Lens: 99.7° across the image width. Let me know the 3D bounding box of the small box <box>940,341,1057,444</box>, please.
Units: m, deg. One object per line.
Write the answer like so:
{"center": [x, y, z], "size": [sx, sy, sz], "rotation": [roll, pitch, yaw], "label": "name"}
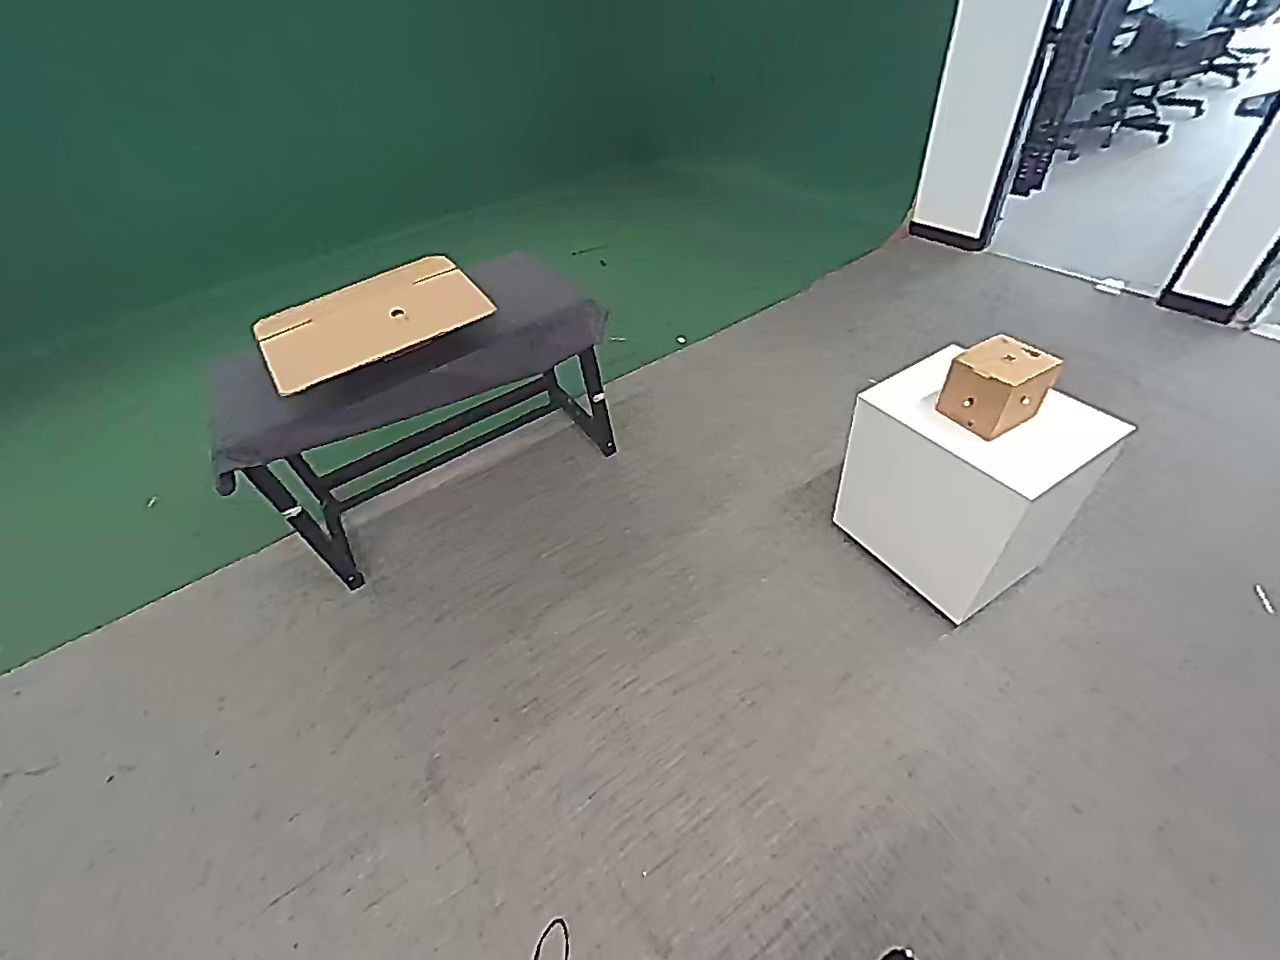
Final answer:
{"center": [0.894, -0.220, 1.370], "size": [0.179, 0.176, 0.168], "rotation": [-27, 47, -18], "label": "small box"}
